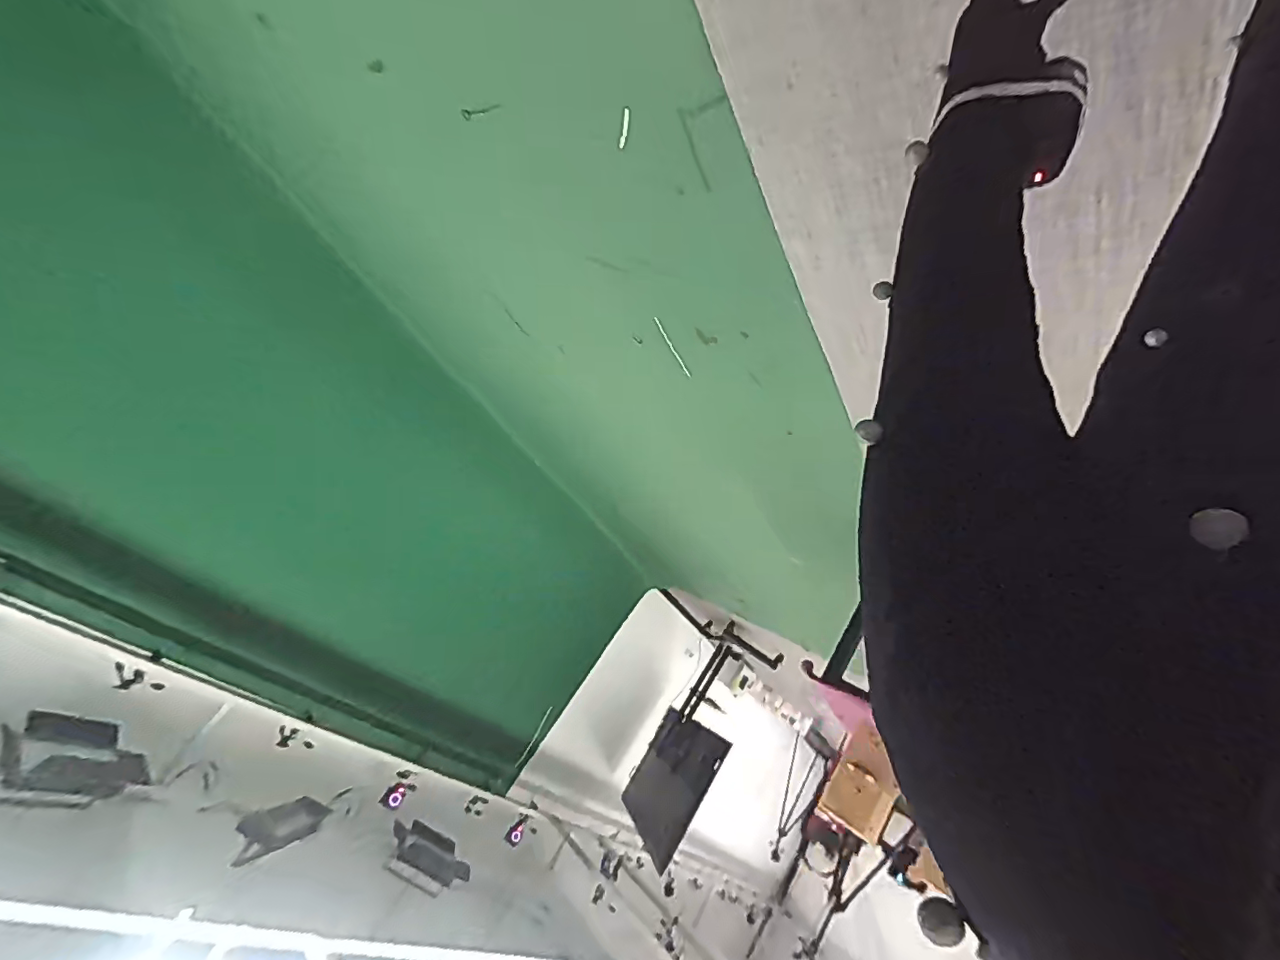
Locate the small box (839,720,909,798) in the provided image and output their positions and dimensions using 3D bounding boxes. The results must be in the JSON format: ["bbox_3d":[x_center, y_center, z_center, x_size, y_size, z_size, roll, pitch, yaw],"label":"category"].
[{"bbox_3d":[0.861,1.016,1.978,0.168,0.176,0.179,14,152,47],"label":"small box"}]

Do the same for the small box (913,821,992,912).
[{"bbox_3d":[0.983,1.204,1.694,0.168,0.176,0.179,17,156,45],"label":"small box"}]

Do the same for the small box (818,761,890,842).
[{"bbox_3d":[0.770,1.144,1.931,0.168,0.176,0.179,16,152,47],"label":"small box"}]
